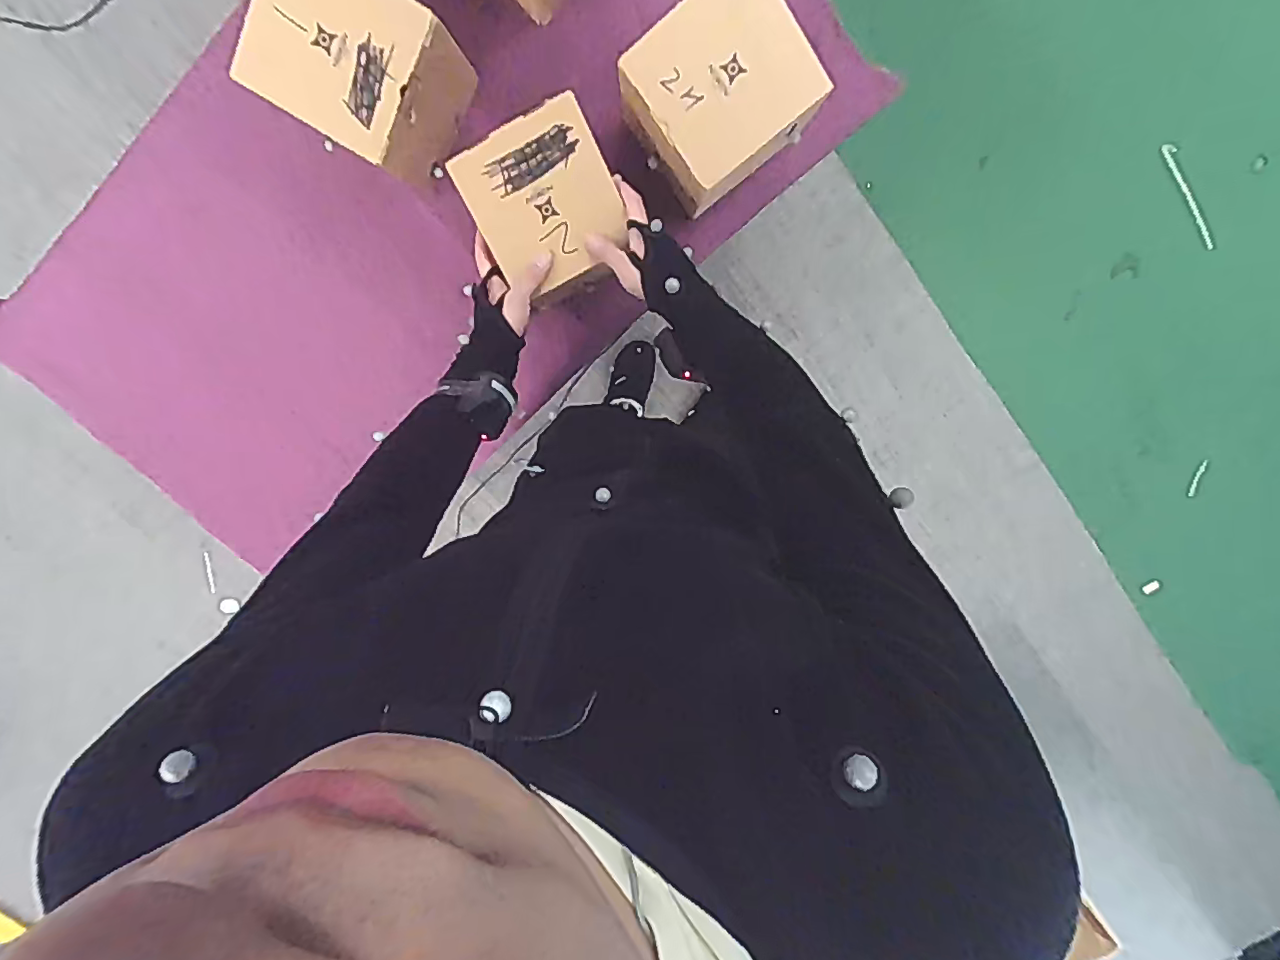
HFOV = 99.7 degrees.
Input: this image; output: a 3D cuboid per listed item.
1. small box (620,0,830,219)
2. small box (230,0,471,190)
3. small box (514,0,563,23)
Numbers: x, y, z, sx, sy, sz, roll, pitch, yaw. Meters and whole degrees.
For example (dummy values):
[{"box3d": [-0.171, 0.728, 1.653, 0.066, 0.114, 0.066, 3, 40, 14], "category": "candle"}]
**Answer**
[{"box3d": [0.092, -0.453, 0.658, 0.179, 0.176, 0.168, -35, 102, 11], "category": "small box"}, {"box3d": [-0.330, -0.479, 0.653, 0.179, 0.176, 0.168, 29, 105, -9], "category": "small box"}, {"box3d": [-0.126, -0.676, 0.593, 0.168, 0.176, 0.179, 42, 104, -12], "category": "small box"}]
